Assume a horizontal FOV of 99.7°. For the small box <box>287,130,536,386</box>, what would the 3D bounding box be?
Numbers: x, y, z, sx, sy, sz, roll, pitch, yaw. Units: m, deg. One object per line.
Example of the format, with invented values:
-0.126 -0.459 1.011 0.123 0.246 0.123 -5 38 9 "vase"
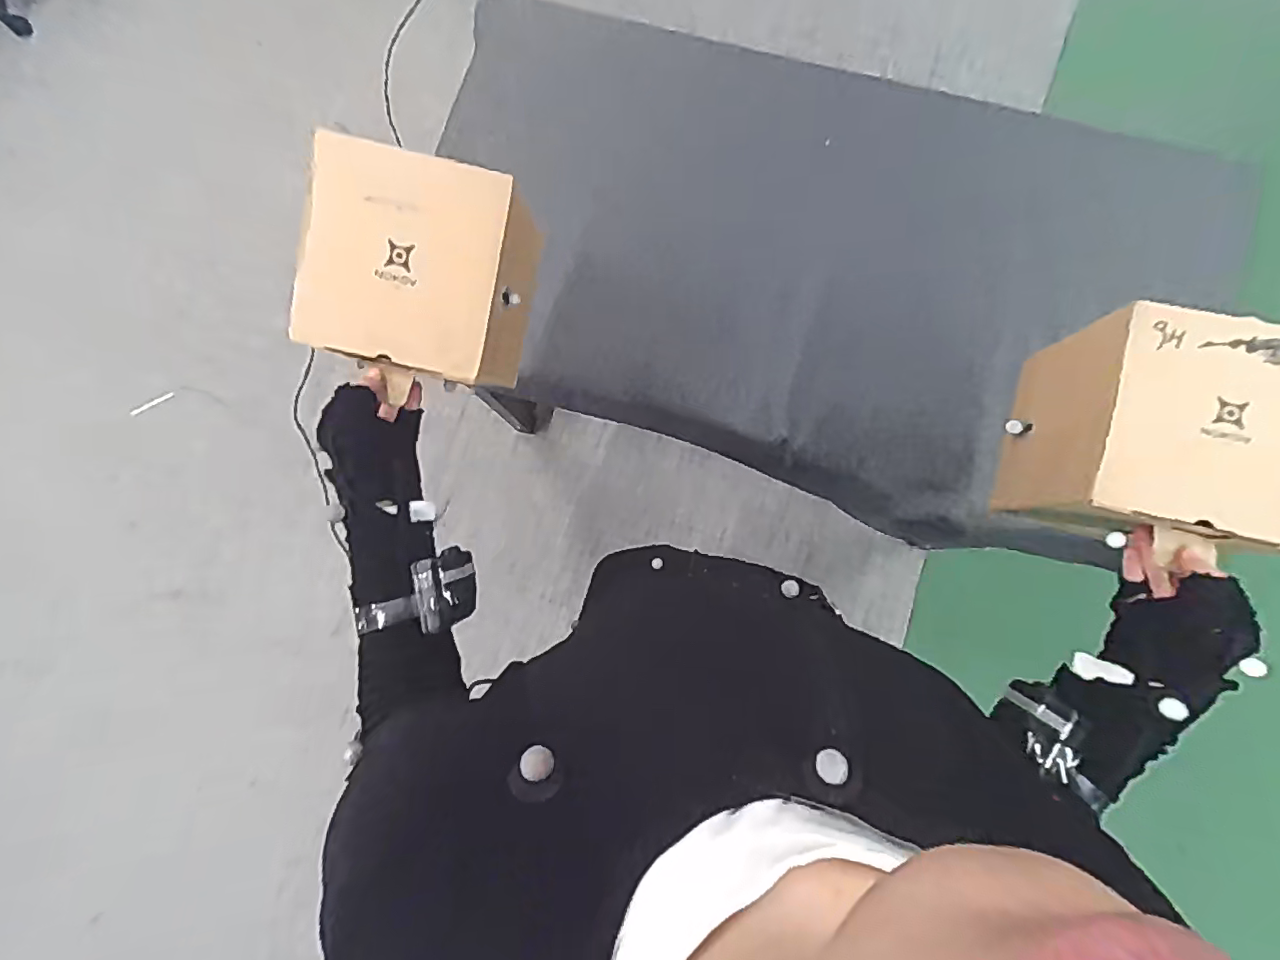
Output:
-0.206 -0.193 0.530 0.168 0.176 0.179 12 98 -4 "small box"
